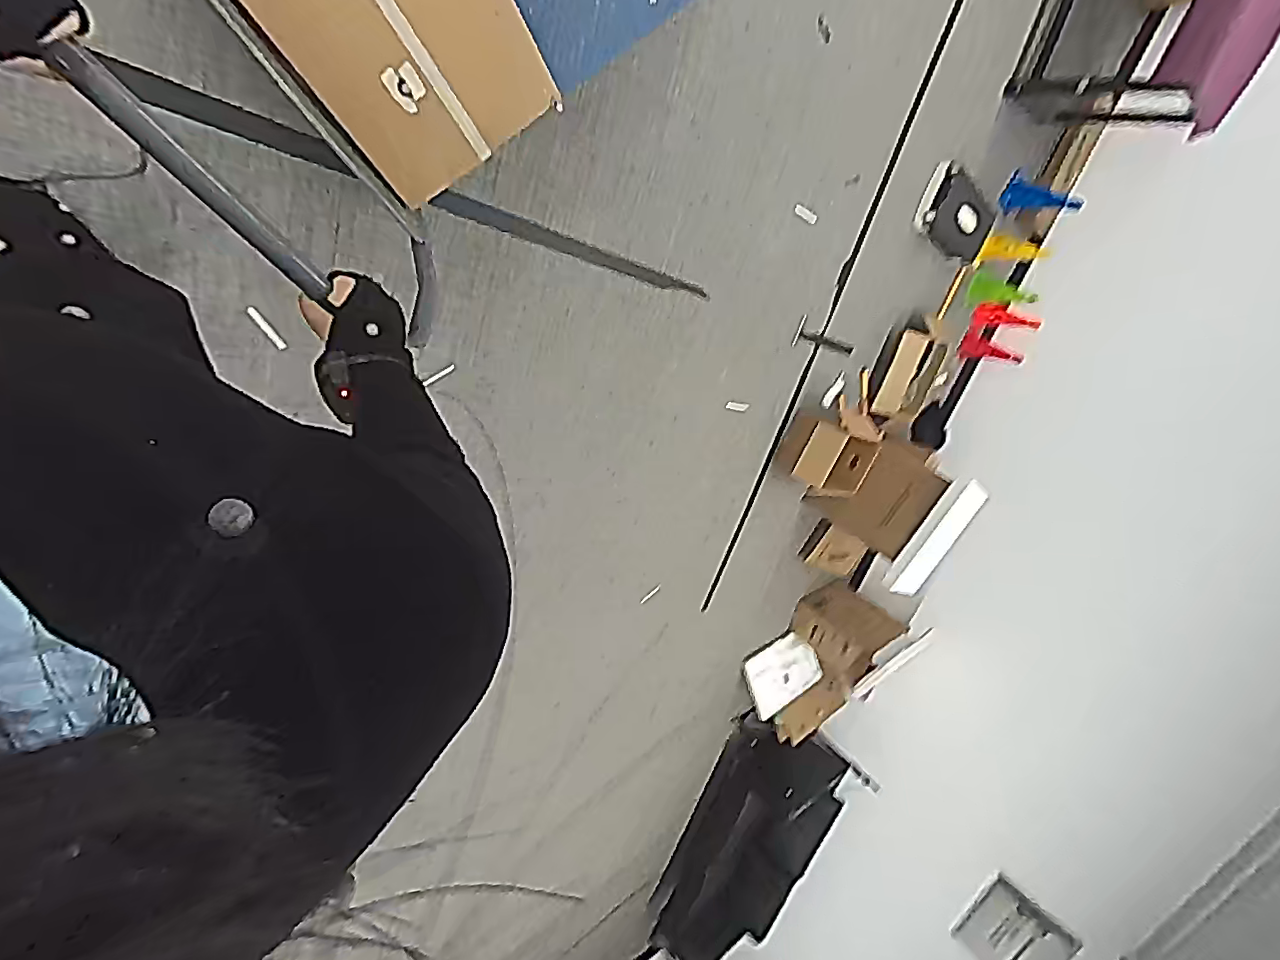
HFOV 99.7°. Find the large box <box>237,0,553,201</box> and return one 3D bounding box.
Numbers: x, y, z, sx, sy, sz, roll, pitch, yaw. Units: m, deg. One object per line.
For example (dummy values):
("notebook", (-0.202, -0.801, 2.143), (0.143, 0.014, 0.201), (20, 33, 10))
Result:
("large box", (-0.407, -0.749, 0.847), (0.320, 0.320, 0.408), (-33, 140, 4))
